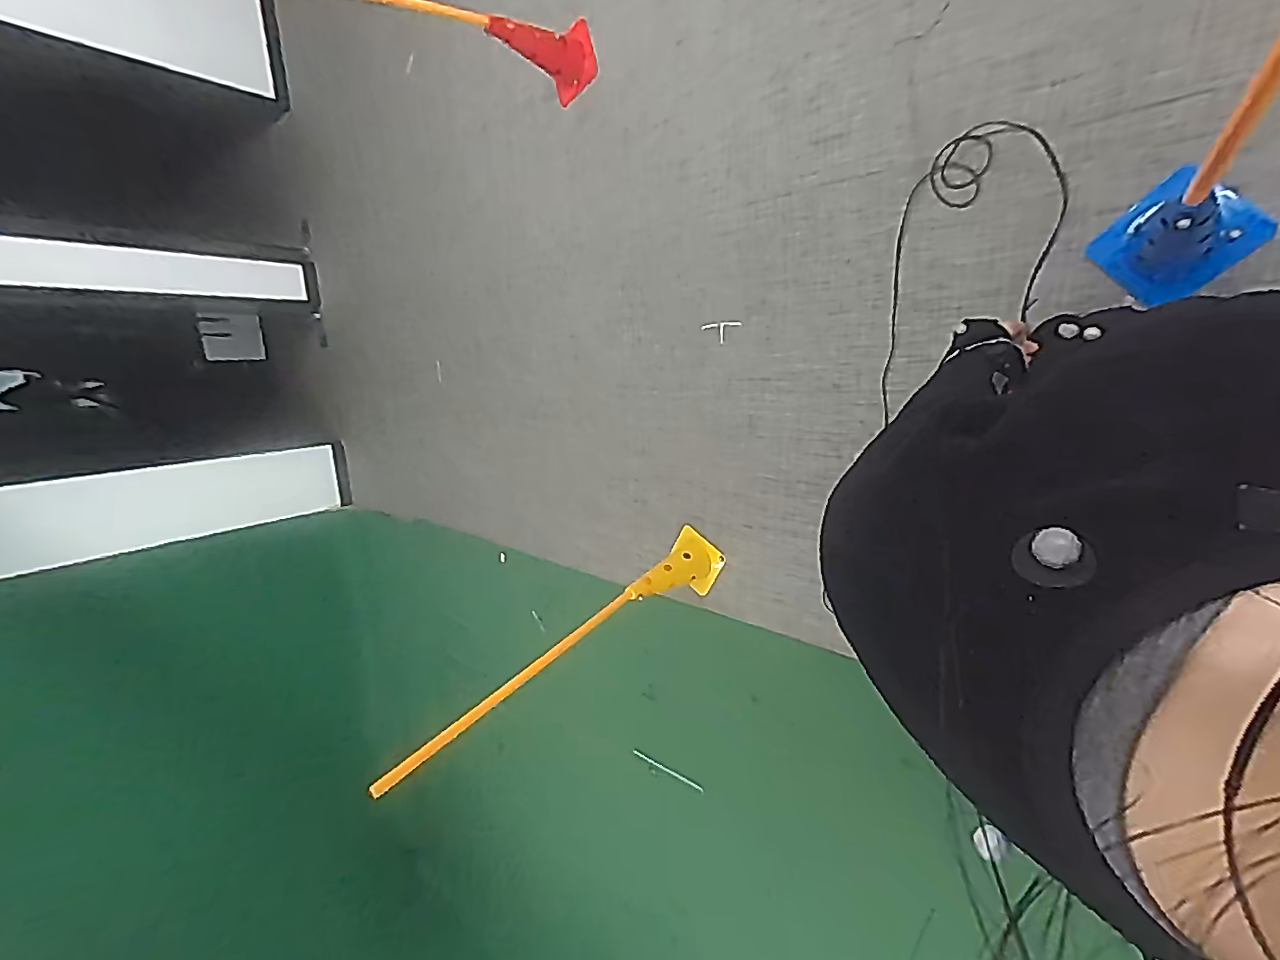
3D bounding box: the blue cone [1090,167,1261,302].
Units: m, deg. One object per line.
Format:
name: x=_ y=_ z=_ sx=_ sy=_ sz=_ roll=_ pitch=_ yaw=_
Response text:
blue cone: x=0.900 y=-0.441 z=0.900 sx=0.192 sy=0.380 sz=0.193 roll=54 pitch=127 yaw=18
